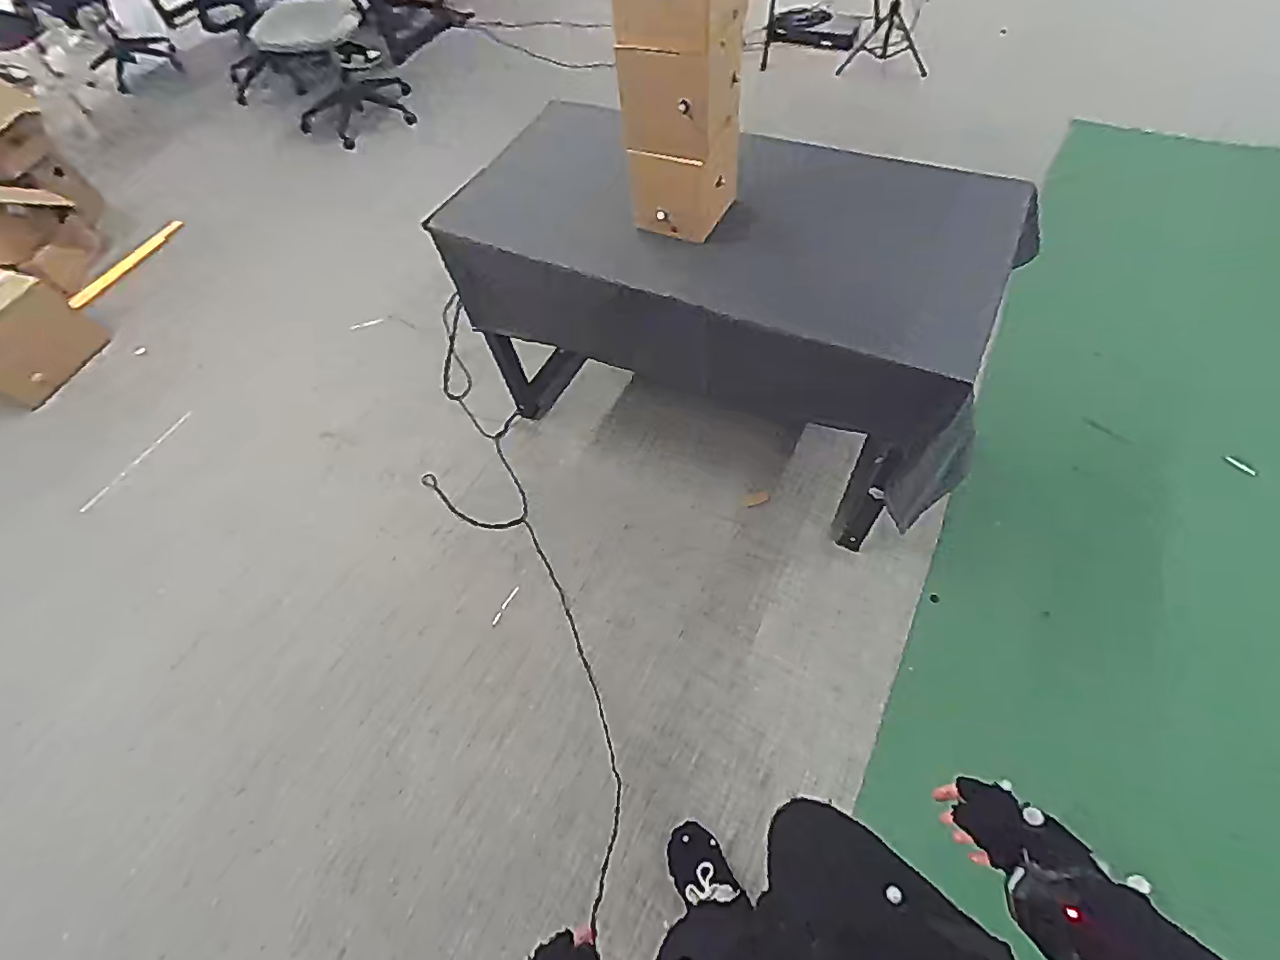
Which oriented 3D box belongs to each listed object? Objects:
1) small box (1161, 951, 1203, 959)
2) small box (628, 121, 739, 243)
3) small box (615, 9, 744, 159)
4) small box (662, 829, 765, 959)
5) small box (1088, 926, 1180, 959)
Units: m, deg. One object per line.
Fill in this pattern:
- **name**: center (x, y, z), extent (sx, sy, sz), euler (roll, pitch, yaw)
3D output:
- **small box**: center (0.907, 0.852, 0.798), extent (0.168, 0.176, 0.179), euler (27, 65, 20)
- **small box**: center (0.093, -0.634, 1.130), extent (0.168, 0.176, 0.179), euler (23, 64, 19)
- **small box**: center (0.076, -0.723, 0.995), extent (0.179, 0.176, 0.168), euler (21, 62, 18)
- **small box**: center (0.151, 0.839, 1.105), extent (0.179, 0.176, 0.168), euler (-2, 69, 25)
- **small box**: center (0.917, 0.928, 0.945), extent (0.179, 0.176, 0.168), euler (28, 65, 20)
